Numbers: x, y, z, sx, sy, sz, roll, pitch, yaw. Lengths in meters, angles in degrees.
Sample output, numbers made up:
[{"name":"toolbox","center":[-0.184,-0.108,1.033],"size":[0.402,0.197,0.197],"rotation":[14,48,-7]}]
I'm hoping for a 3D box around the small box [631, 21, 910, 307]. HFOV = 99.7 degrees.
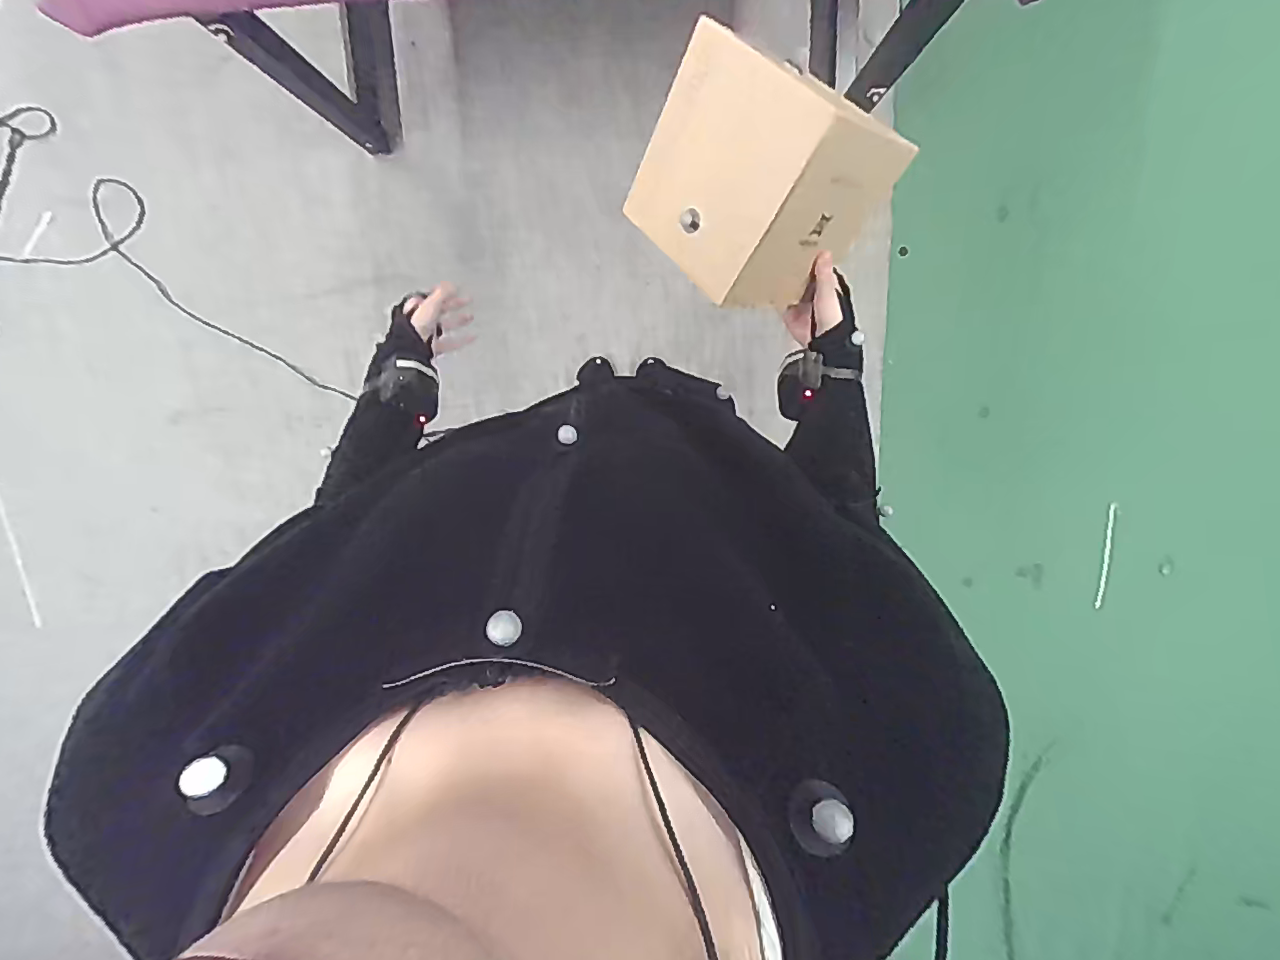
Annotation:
[{"name":"small box","center":[0.115,-0.295,0.536],"size":[0.176,0.168,0.179],"rotation":[52,135,21]}]
